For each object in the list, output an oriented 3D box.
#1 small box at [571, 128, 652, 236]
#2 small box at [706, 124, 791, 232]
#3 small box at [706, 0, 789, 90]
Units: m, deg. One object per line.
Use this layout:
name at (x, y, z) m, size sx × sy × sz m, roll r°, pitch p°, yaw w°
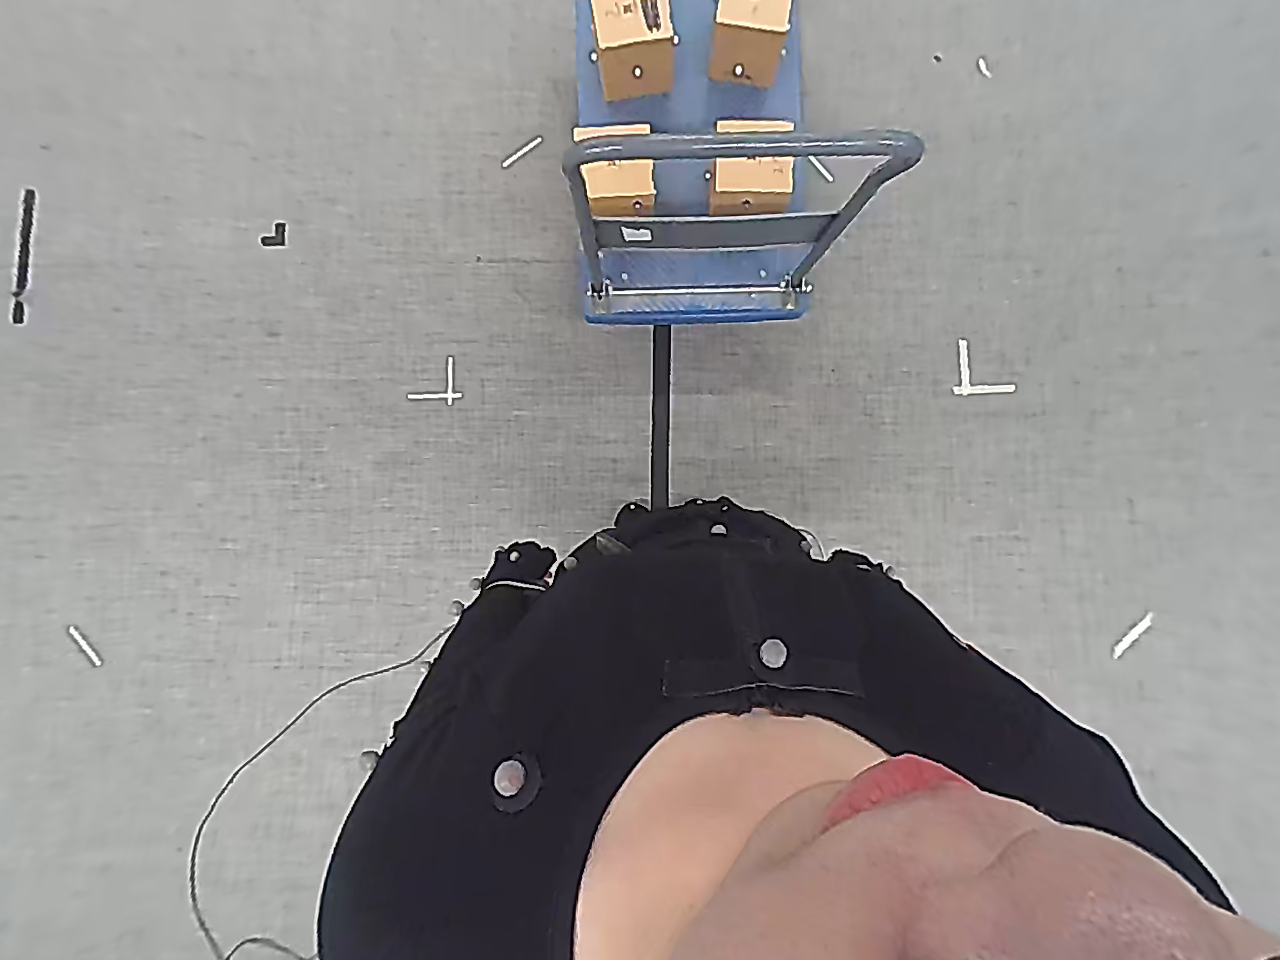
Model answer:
small box at (-0.064, -0.705, 1.295) m, size 0.179 × 0.176 × 0.168 m, roll -4°, pitch 88°, yaw -2°
small box at (0.252, -0.714, 1.293) m, size 0.179 × 0.176 × 0.168 m, roll 2°, pitch 88°, yaw 0°
small box at (0.259, -1.100, 1.308) m, size 0.168 × 0.176 × 0.179 m, roll 9°, pitch 89°, yaw 1°
